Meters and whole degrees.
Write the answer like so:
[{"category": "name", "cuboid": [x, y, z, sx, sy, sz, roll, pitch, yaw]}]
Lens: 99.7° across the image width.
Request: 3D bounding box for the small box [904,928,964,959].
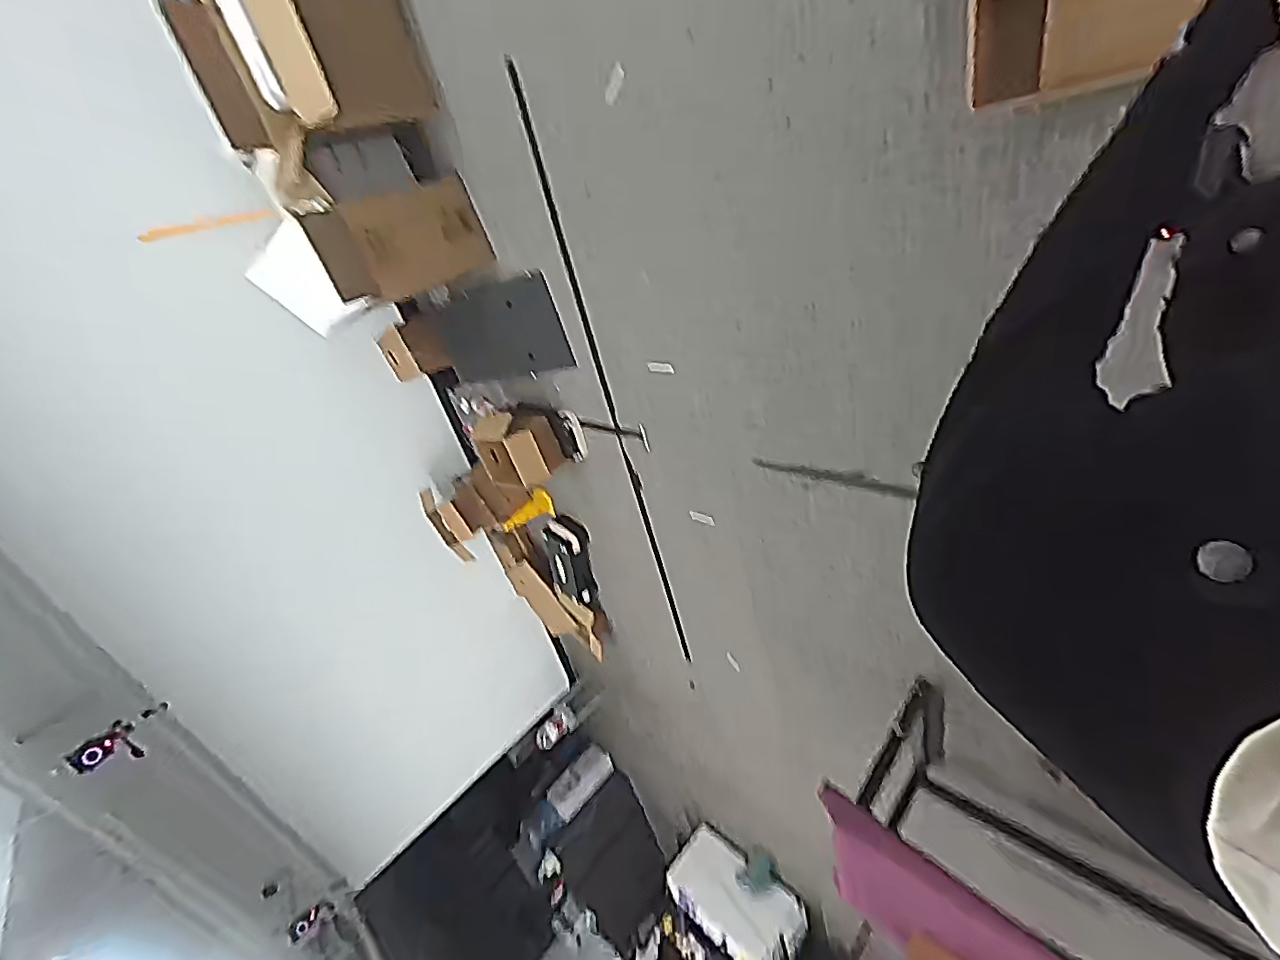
[{"category": "small box", "cuboid": [0.977, 1.652, 1.790, 0.179, 0.176, 0.168, 16, 130, 42]}]
